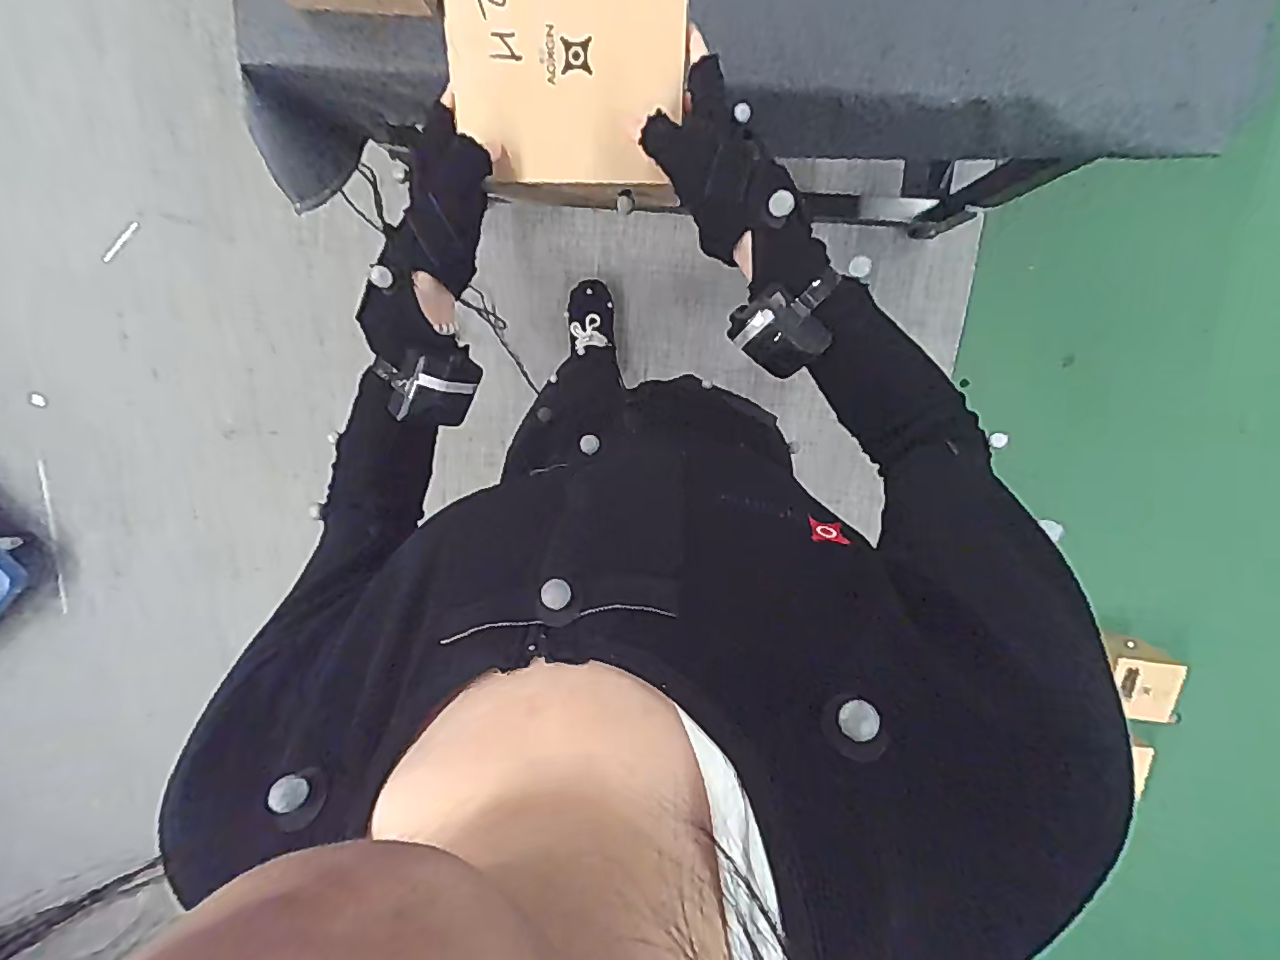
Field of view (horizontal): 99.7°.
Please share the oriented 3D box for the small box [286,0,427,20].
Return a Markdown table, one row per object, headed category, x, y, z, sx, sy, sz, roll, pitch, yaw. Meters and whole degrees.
| category | x | y | z | sx | sy | sz | roll | pitch | yaw |
| --- | --- | --- | --- | --- | --- | --- | --- | --- | --- |
| small box | -0.327 | -0.618 | 0.556 | 0.179 | 0.176 | 0.168 | 4 | 102 | 1 |
